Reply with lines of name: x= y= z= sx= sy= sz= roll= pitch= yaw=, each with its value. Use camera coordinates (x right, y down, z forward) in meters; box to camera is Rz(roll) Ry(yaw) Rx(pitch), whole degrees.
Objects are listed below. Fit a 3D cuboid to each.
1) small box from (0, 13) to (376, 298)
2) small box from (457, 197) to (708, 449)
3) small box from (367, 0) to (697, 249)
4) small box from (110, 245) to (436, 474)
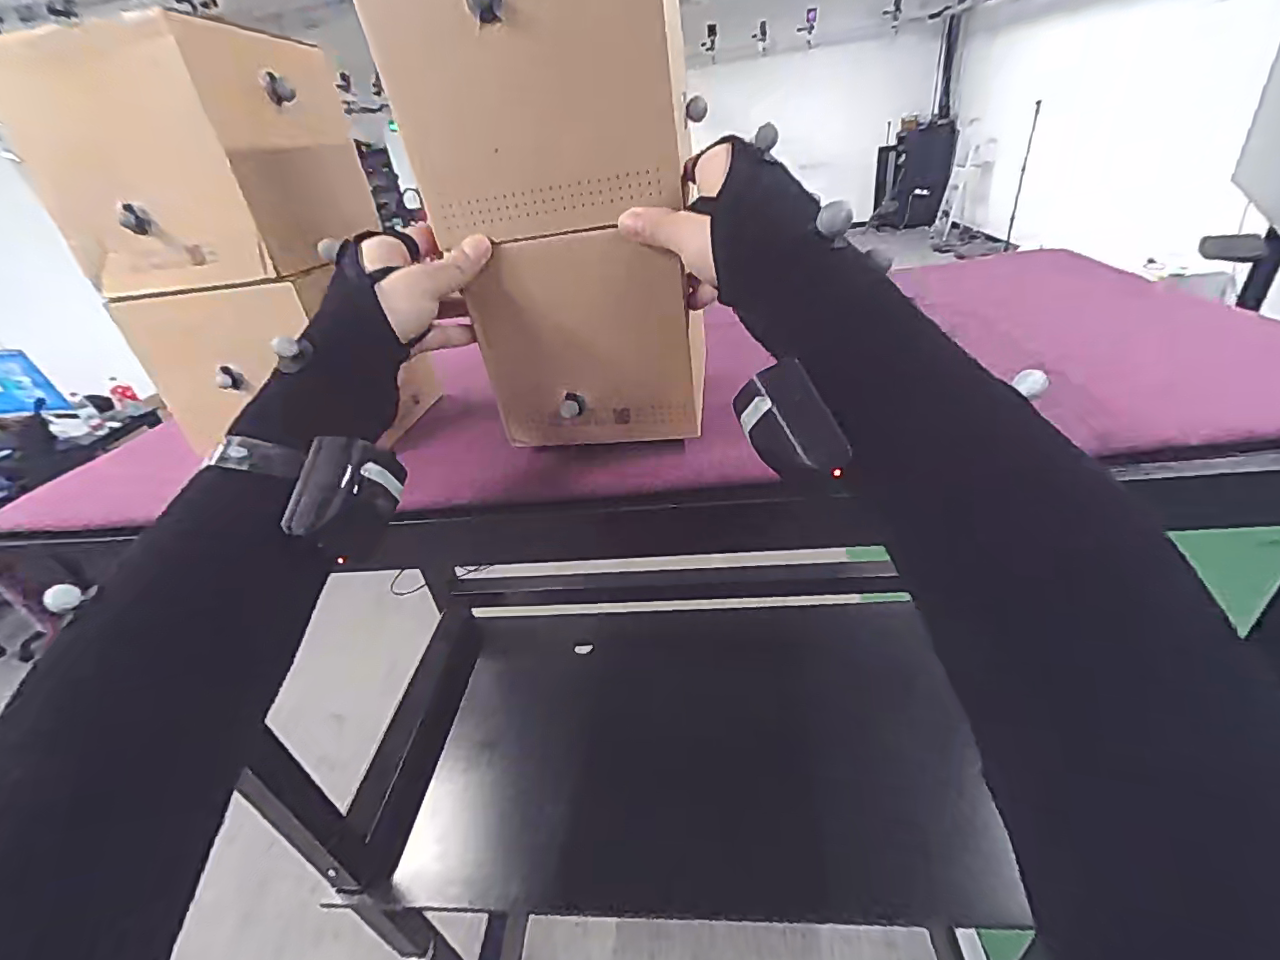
small box: x=-0.357 y=-0.262 z=0.462 sx=0.168 sy=0.176 sz=0.179 roll=-4 pitch=32 yaw=8
small box: x=-0.030 y=-0.143 z=0.482 sx=0.168 sy=0.176 sz=0.179 roll=-3 pitch=35 yaw=11
small box: x=-0.058 y=-0.274 z=0.386 sx=0.179 sy=0.176 sz=0.168 roll=-3 pitch=34 yaw=11
small box: x=-0.332 y=-0.120 z=0.537 sx=0.179 sy=0.176 sz=0.168 roll=-4 pitch=31 yaw=8
